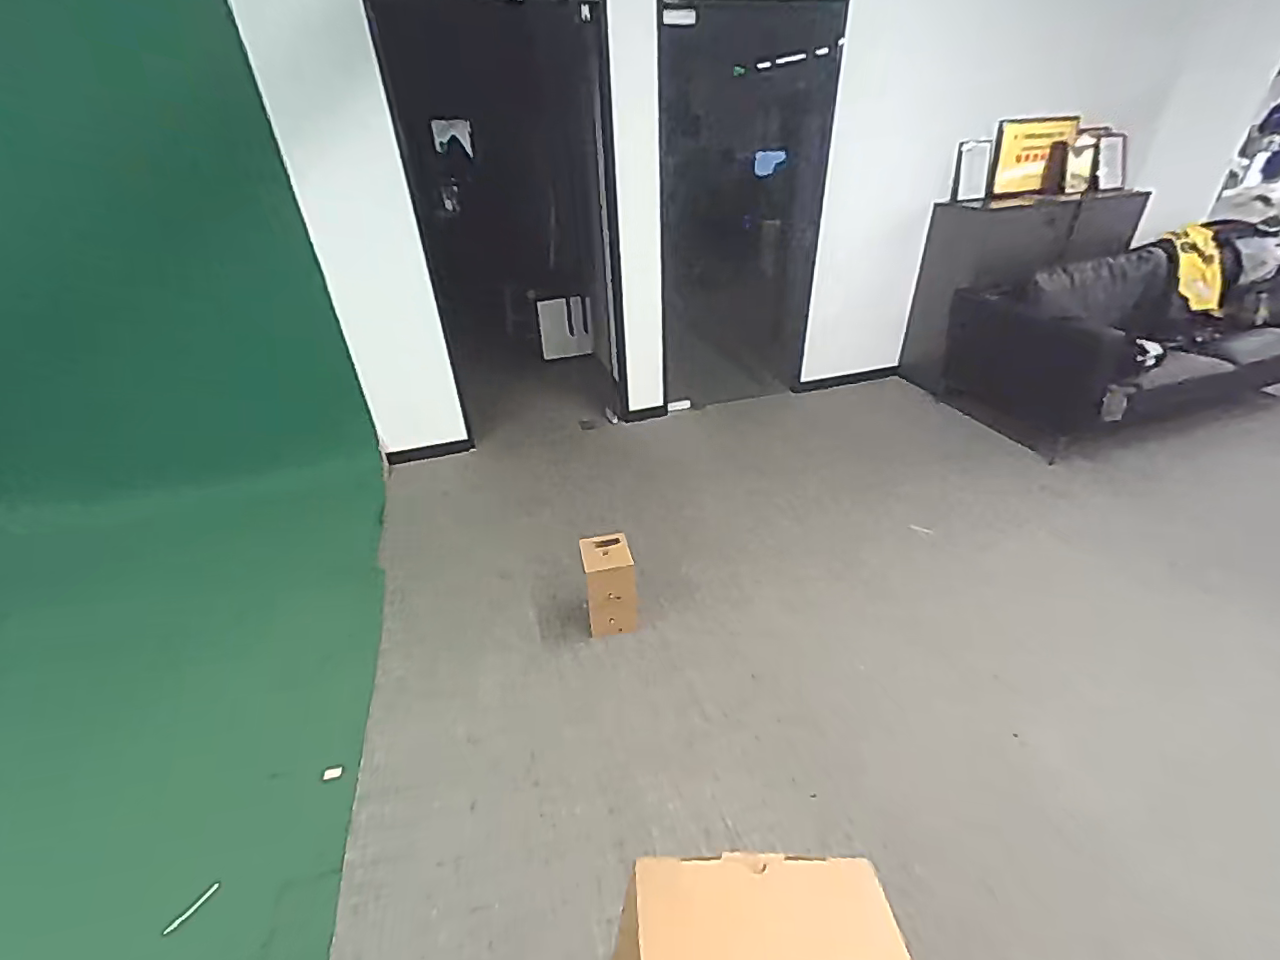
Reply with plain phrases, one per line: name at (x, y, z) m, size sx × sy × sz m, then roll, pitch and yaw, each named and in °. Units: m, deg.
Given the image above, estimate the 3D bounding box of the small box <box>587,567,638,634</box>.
small box at (-0.102, 0.452, 1.997) m, size 0.168 × 0.176 × 0.179 m, roll -7°, pitch 33°, yaw -7°

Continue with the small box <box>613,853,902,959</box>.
small box at (0.069, 0.368, 0.330) m, size 0.168 × 0.176 × 0.179 m, roll 5°, pitch 27°, yaw -6°
